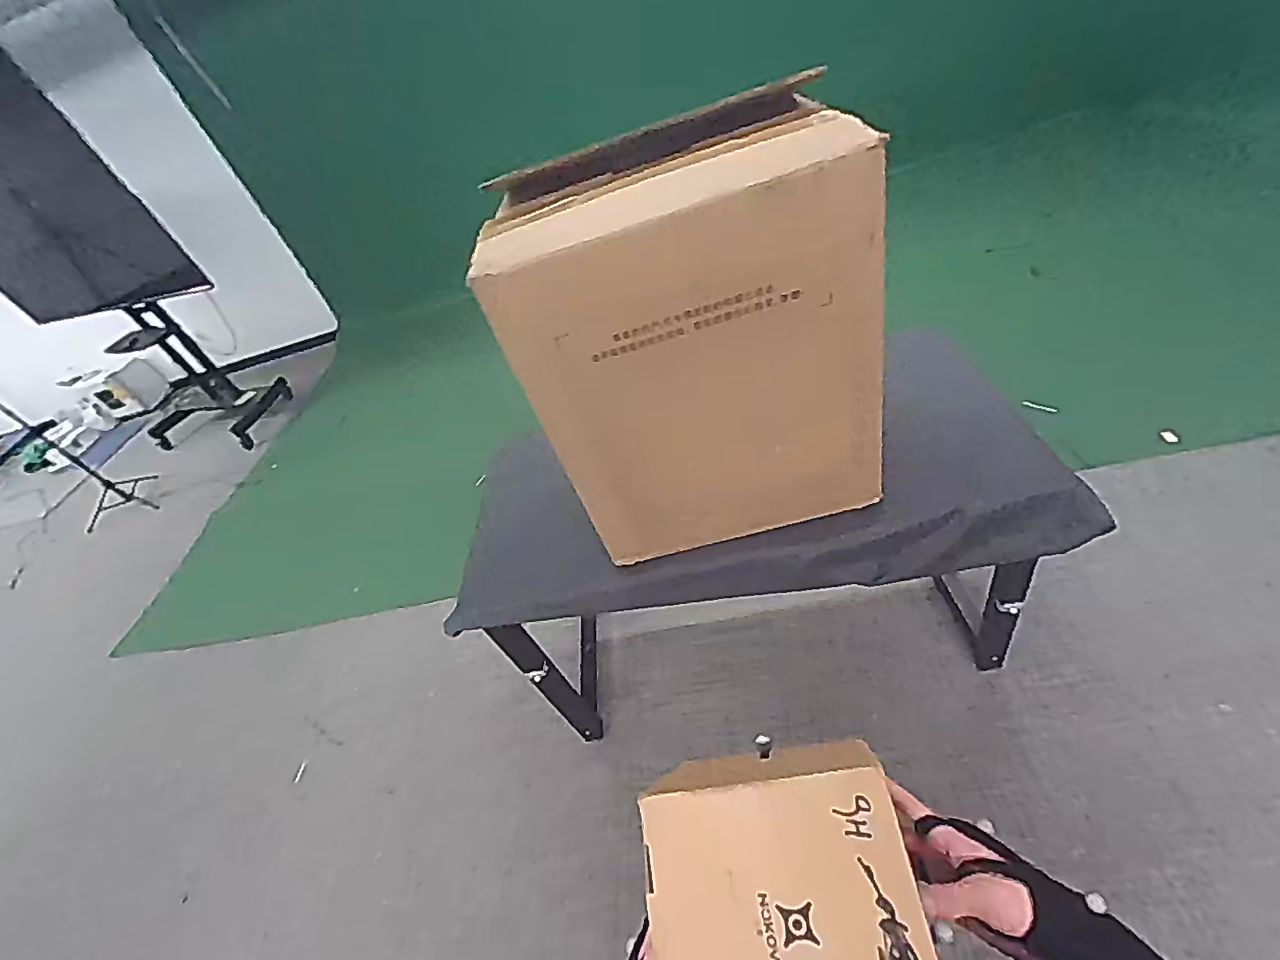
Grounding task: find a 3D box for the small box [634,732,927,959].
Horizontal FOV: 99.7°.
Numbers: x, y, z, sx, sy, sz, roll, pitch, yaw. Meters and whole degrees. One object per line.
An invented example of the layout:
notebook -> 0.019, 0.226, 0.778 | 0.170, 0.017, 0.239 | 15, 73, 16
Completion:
small box -> 0.111, 0.304, 0.427 | 0.179, 0.176, 0.168 | -14, 68, 14
